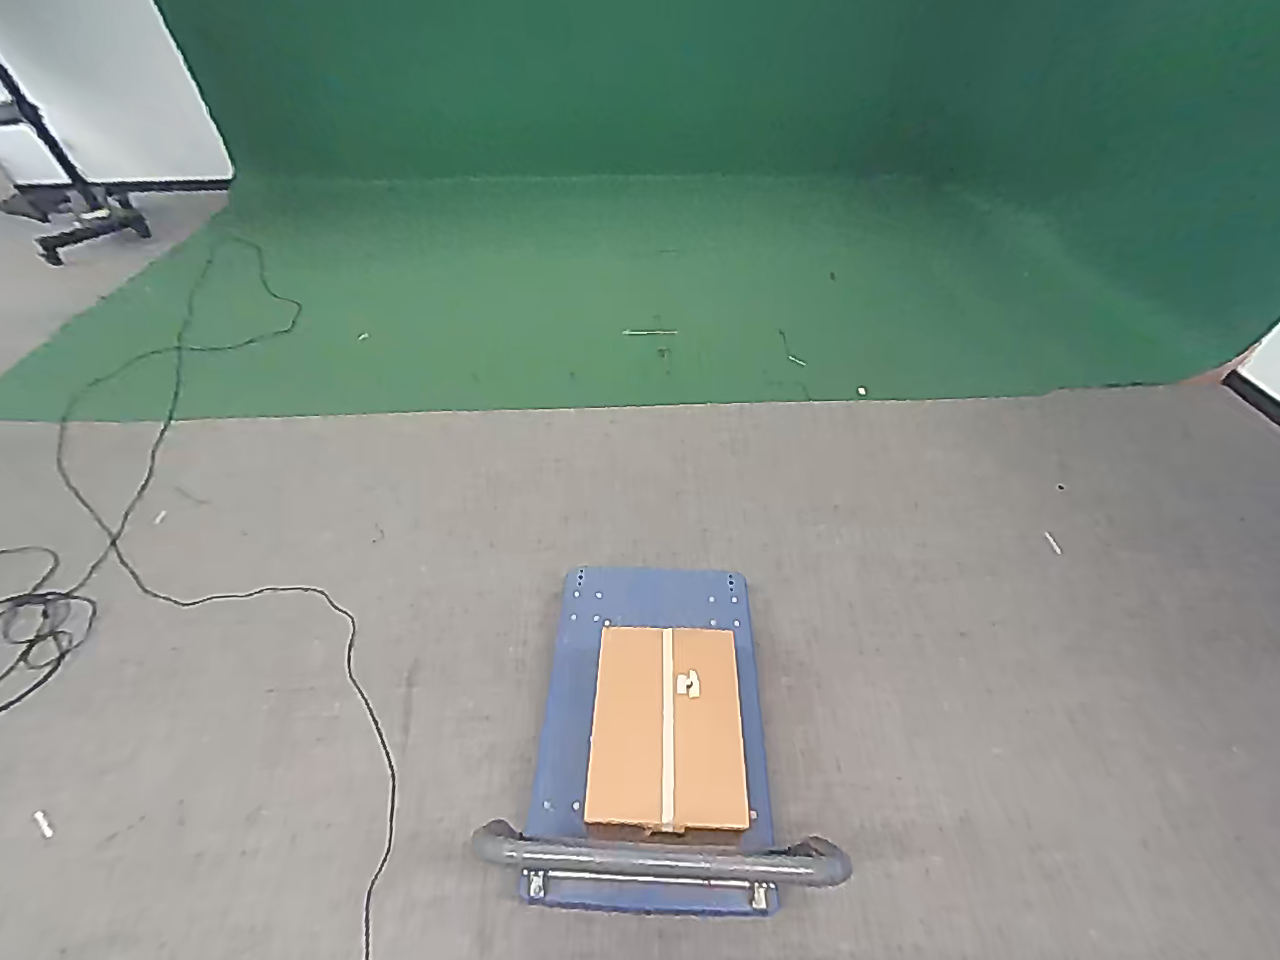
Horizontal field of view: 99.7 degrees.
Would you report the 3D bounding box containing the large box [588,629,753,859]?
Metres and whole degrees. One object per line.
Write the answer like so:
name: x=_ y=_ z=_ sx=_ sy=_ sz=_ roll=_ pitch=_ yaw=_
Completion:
large box: x=0.062 y=0.600 z=1.238 sx=0.320 sy=0.320 sz=0.408 roll=2 pitch=46 yaw=1
